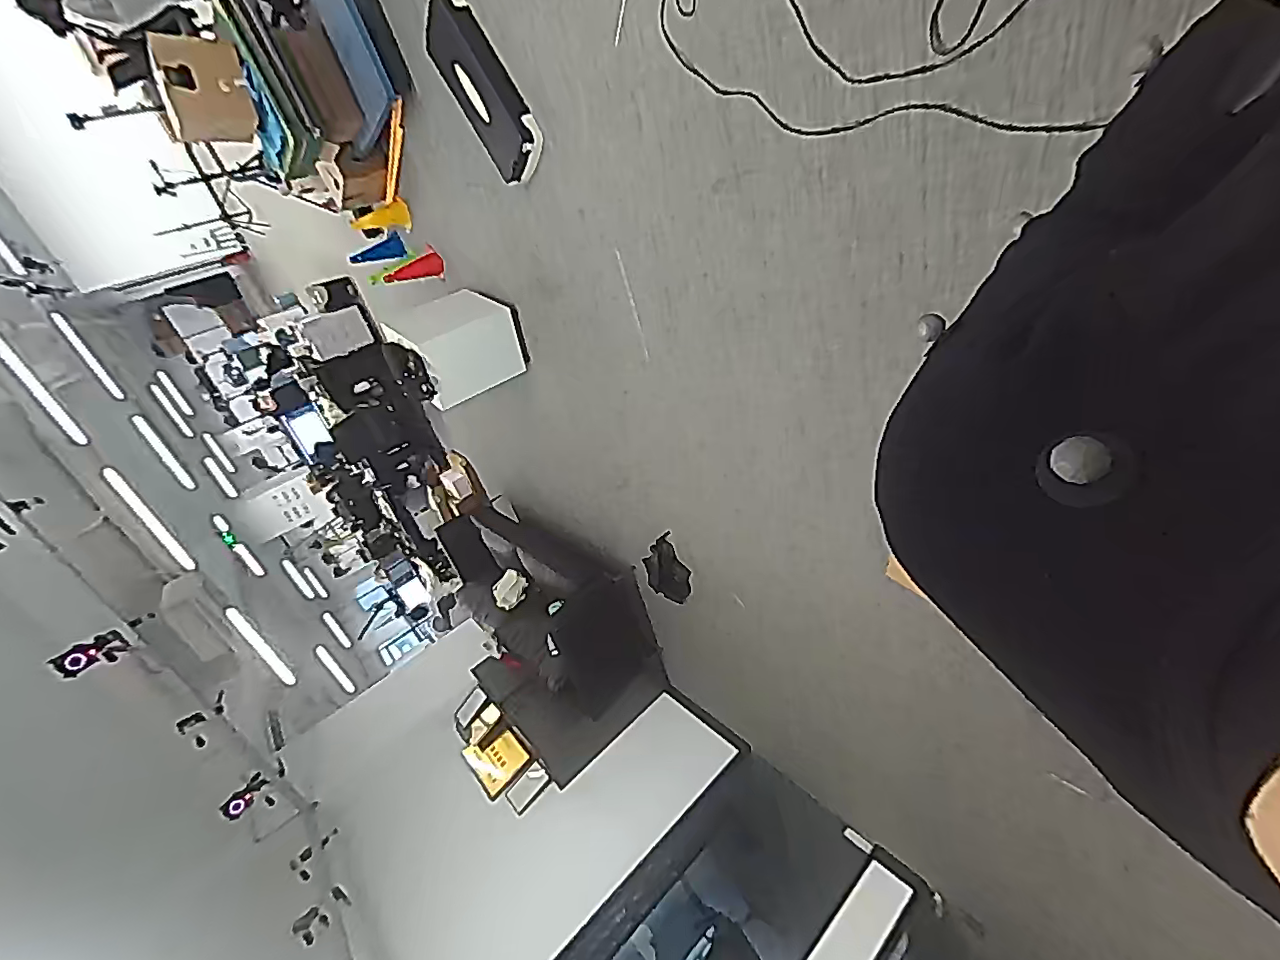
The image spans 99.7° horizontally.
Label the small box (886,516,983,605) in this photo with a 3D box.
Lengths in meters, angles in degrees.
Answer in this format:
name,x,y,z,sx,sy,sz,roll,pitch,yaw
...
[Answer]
name,x,y,z,sx,sy,sz,roll,pitch,yaw
small box,0.884,0.233,1.627,0.179,0.176,0.168,34,146,35
